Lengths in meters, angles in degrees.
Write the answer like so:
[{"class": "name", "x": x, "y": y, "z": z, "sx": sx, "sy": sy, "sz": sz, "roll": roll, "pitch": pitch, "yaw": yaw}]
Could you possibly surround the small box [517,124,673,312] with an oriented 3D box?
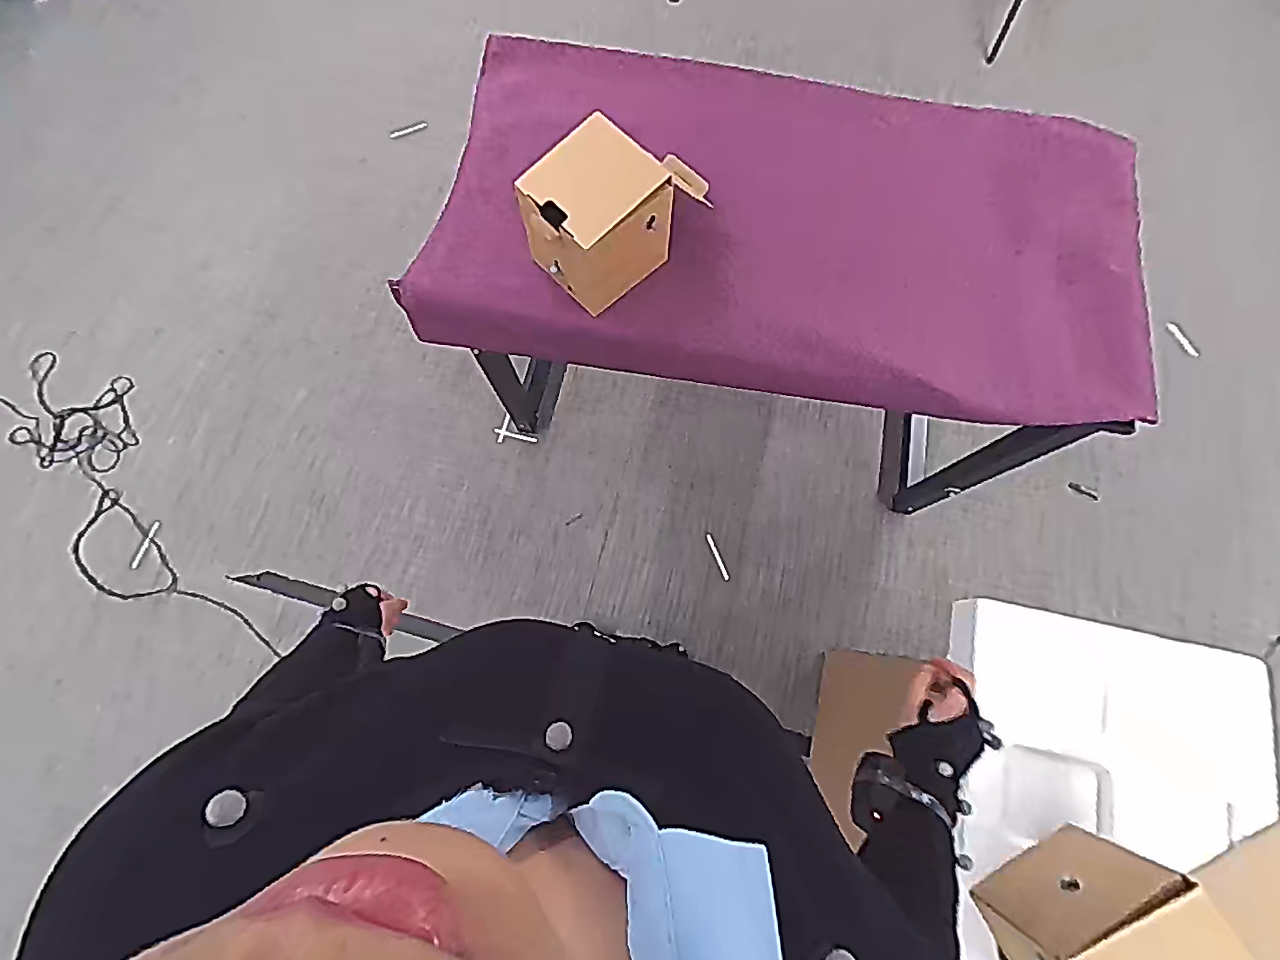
[{"class": "small box", "x": -0.069, "y": -0.415, "z": 0.876, "sx": 0.179, "sy": 0.176, "sz": 0.168, "roll": -42, "pitch": 77, "yaw": -11}]
